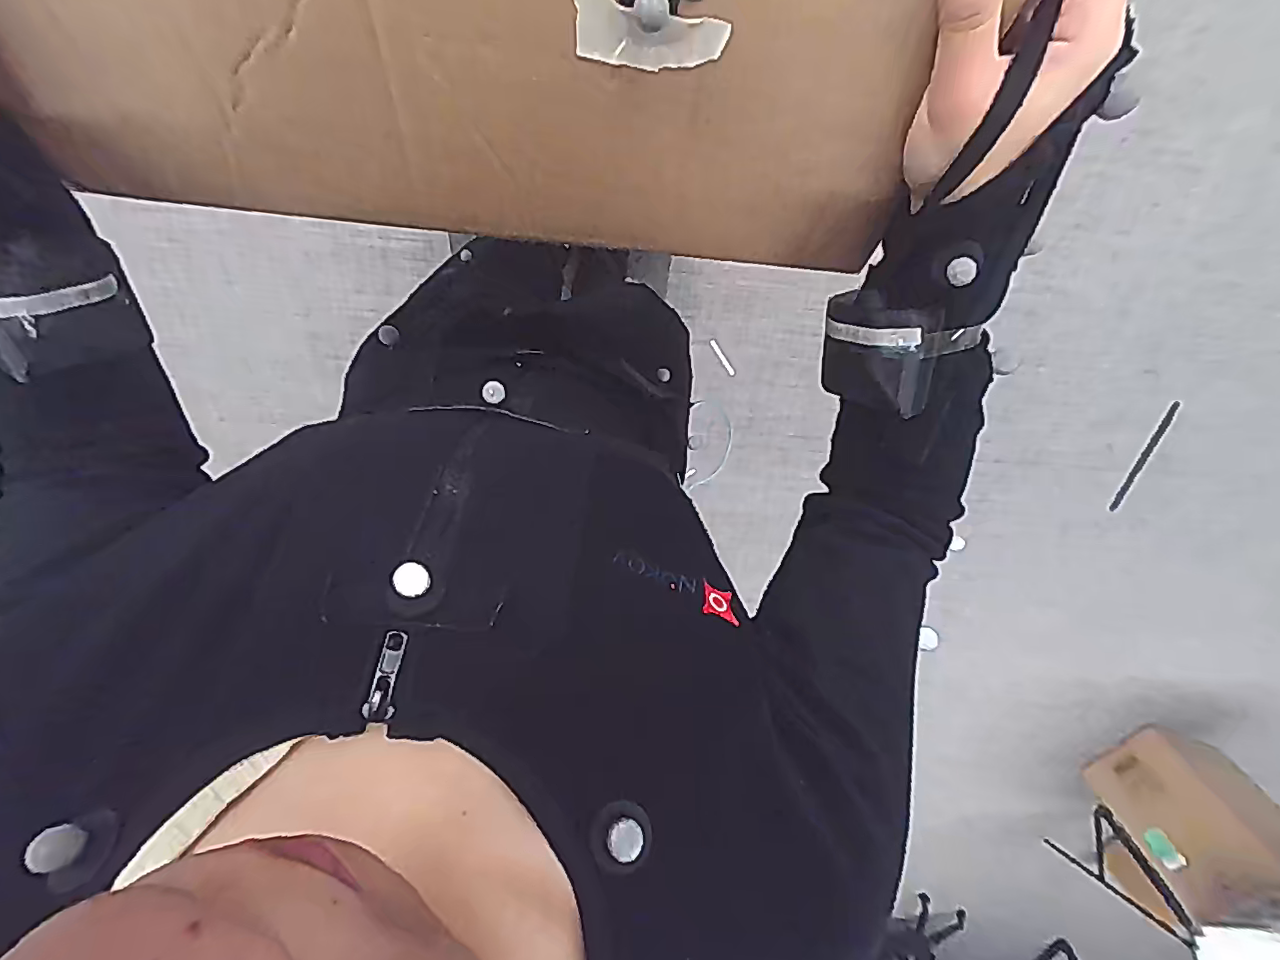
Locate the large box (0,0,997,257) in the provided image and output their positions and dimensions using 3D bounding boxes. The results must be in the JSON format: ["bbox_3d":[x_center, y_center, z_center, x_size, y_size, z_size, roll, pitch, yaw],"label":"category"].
[{"bbox_3d":[-0.059,-0.339,0.235,0.408,0.320,0.320,2,152,-7],"label":"large box"}]
